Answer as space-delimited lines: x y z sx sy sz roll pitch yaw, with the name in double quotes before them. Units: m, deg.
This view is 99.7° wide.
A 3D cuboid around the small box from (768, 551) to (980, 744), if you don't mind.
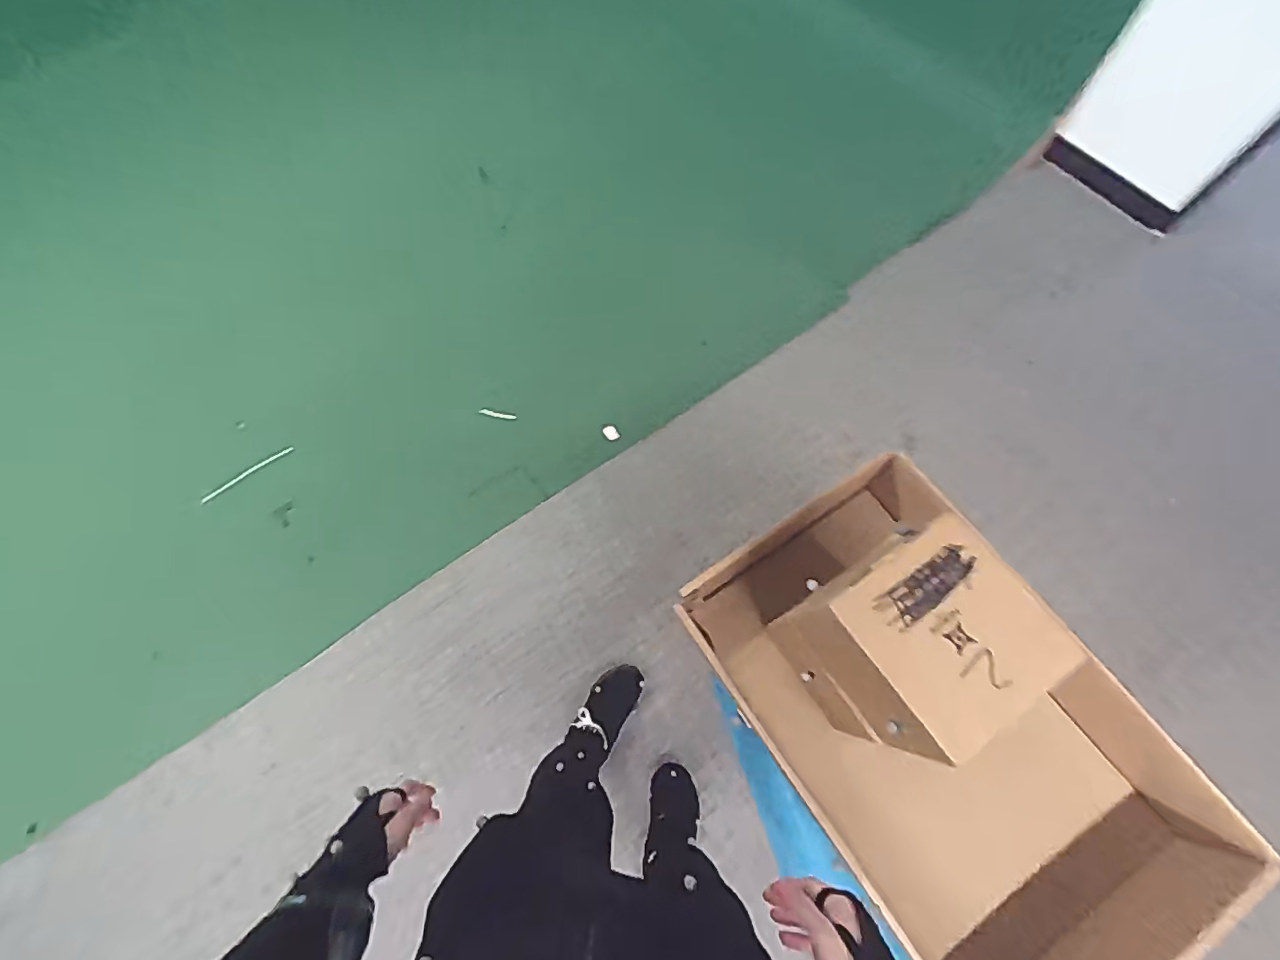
"small box" 0.301 0.223 0.737 0.168 0.176 0.179 -32 73 -9
